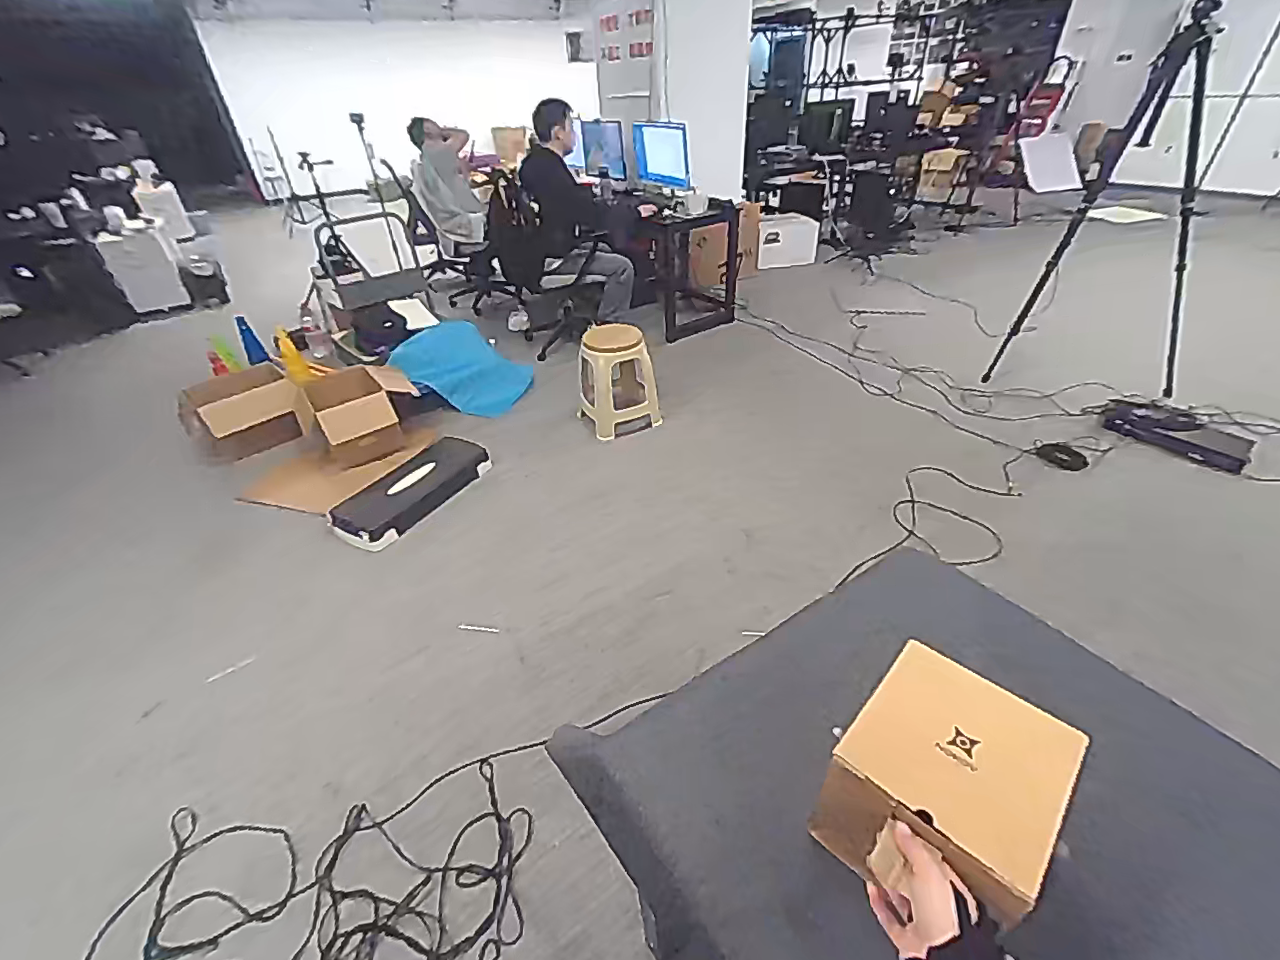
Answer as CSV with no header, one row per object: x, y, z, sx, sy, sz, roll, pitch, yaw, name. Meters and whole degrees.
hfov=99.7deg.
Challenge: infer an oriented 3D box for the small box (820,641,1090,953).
0.300,0.308,0.542,0.168,0.176,0.179,28,47,35,small box
